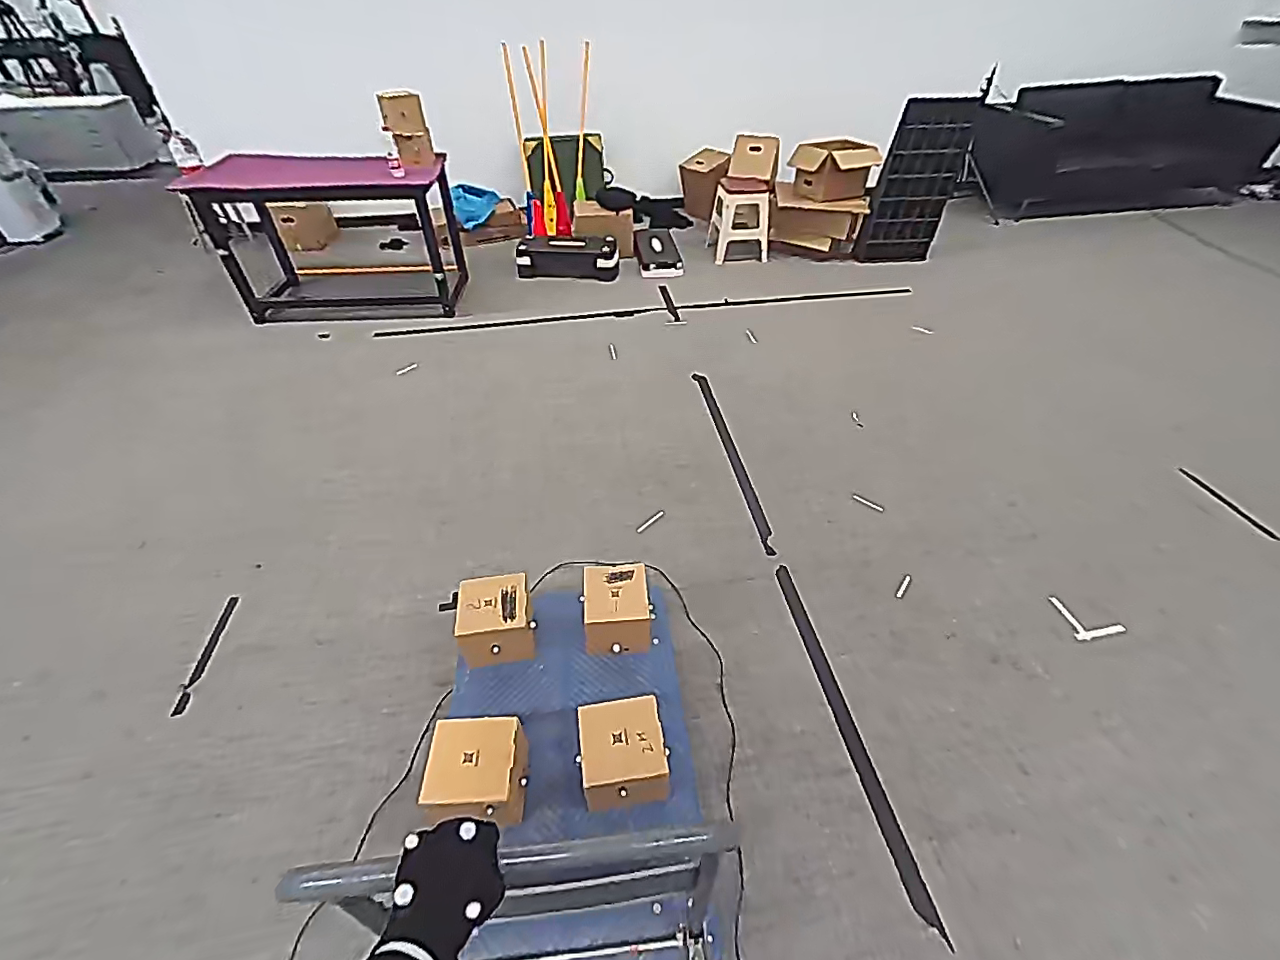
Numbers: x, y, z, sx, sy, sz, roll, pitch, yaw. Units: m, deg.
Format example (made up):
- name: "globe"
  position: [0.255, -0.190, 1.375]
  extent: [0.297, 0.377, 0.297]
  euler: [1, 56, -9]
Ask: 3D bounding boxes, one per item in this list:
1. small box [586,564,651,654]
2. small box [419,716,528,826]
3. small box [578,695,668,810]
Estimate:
- name: "small box"
  position: [-0.060, 0.347, 1.455]
  extent: [0.168, 0.176, 0.179]
  euler: [-3, 44, -3]
- name: "small box"
  position: [-0.345, 0.625, 1.159]
  extent: [0.179, 0.176, 0.168]
  euler: [0, 43, -3]
- name: "small box"
  position: [-0.037, 0.599, 1.185]
  extent: [0.179, 0.176, 0.168]
  euler: [-6, 44, -6]
